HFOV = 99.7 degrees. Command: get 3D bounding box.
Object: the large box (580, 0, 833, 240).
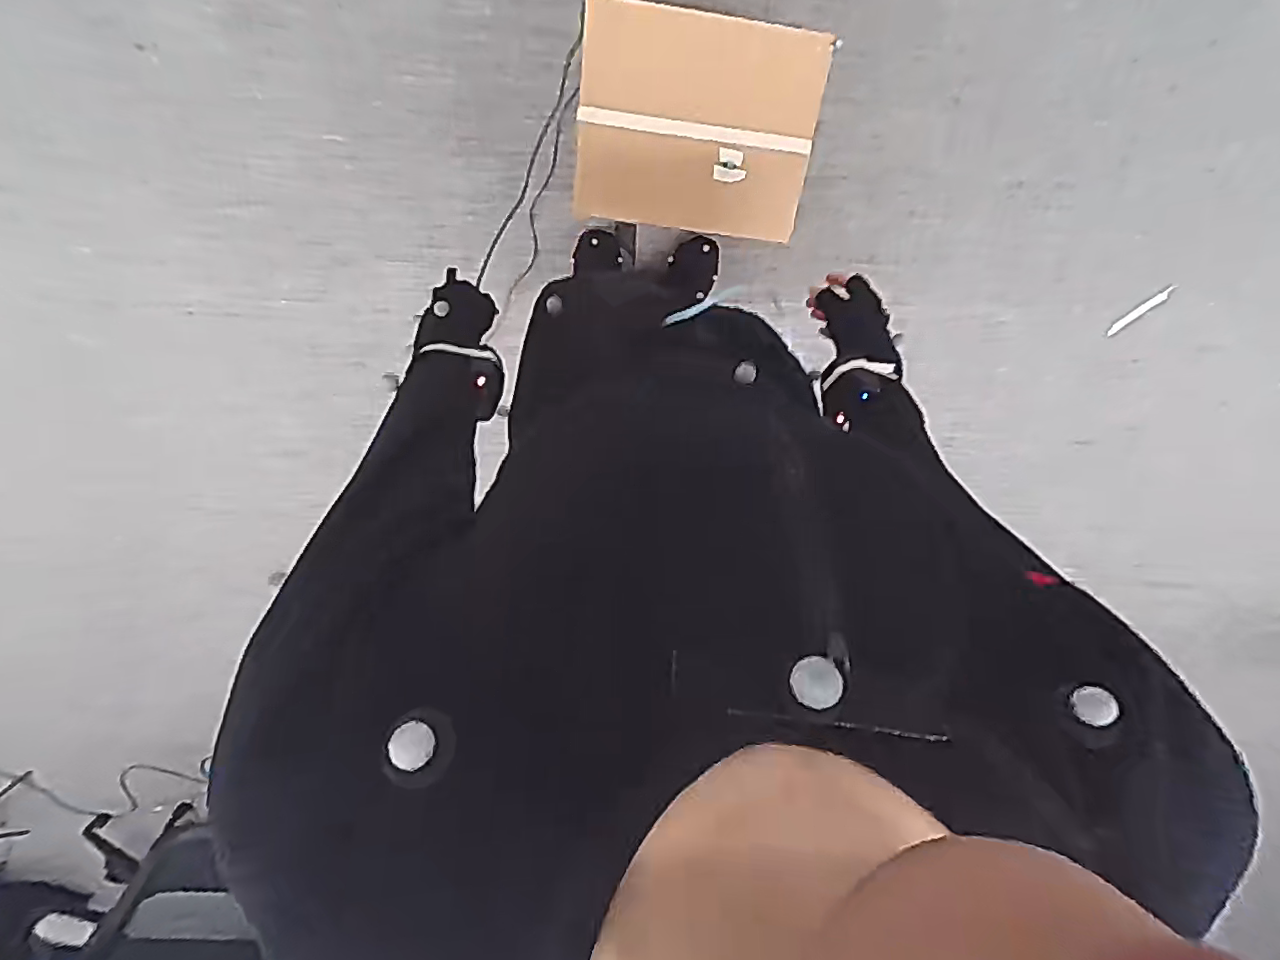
[{"bbox_3d":[0.096,-0.677,1.066,0.408,0.320,0.320,6,120,-5],"label":"large box"}]
